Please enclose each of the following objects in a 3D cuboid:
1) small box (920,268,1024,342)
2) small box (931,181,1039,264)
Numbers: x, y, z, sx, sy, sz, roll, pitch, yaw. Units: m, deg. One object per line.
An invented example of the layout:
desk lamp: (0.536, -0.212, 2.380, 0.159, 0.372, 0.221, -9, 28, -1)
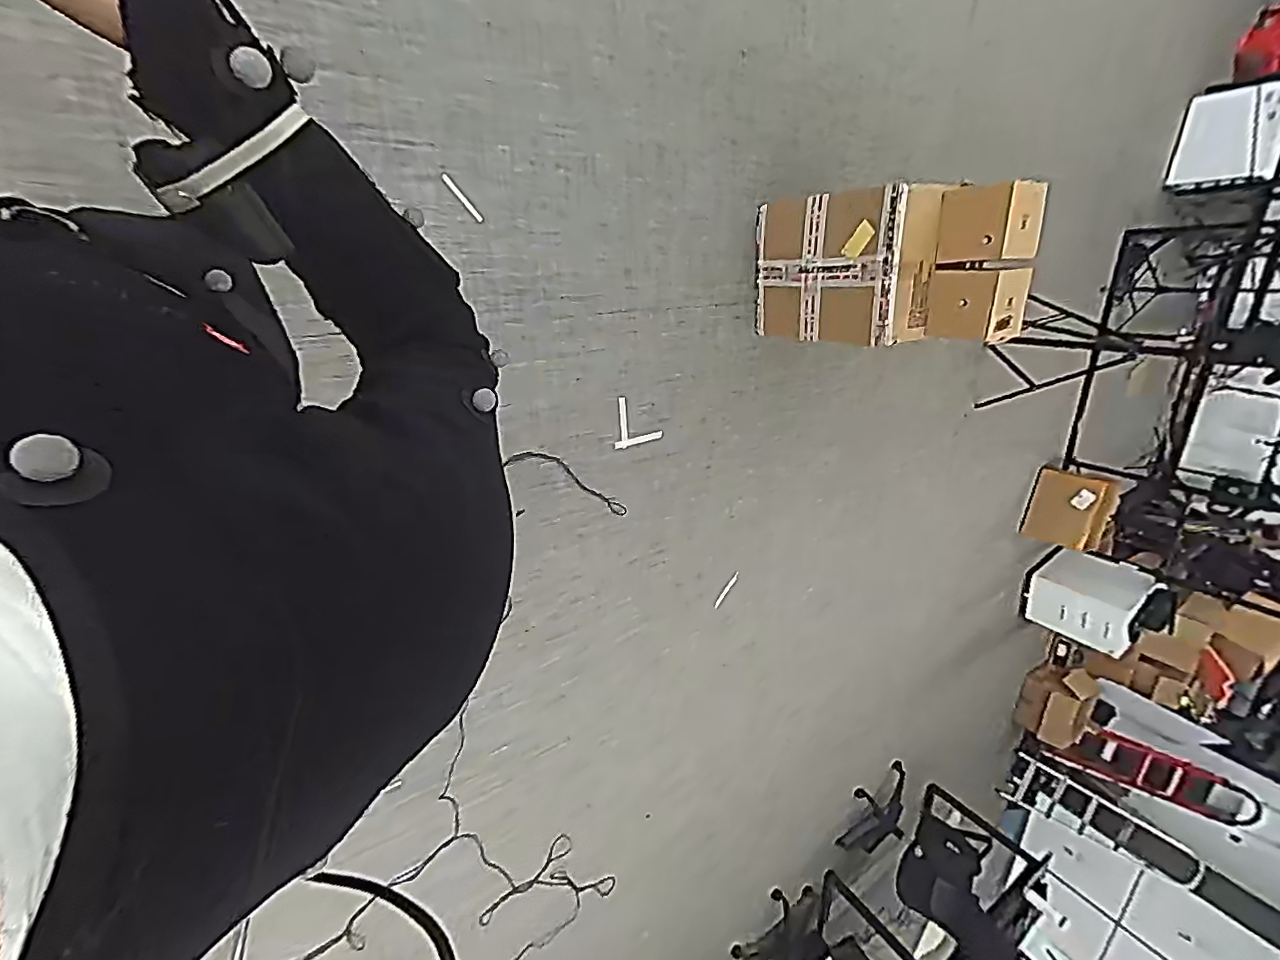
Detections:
small box: (0.890, -0.478, 1.463, 0.168, 0.176, 0.179, -15, 115, -28)
small box: (0.879, -0.654, 1.391, 0.168, 0.176, 0.179, -14, 112, -29)
